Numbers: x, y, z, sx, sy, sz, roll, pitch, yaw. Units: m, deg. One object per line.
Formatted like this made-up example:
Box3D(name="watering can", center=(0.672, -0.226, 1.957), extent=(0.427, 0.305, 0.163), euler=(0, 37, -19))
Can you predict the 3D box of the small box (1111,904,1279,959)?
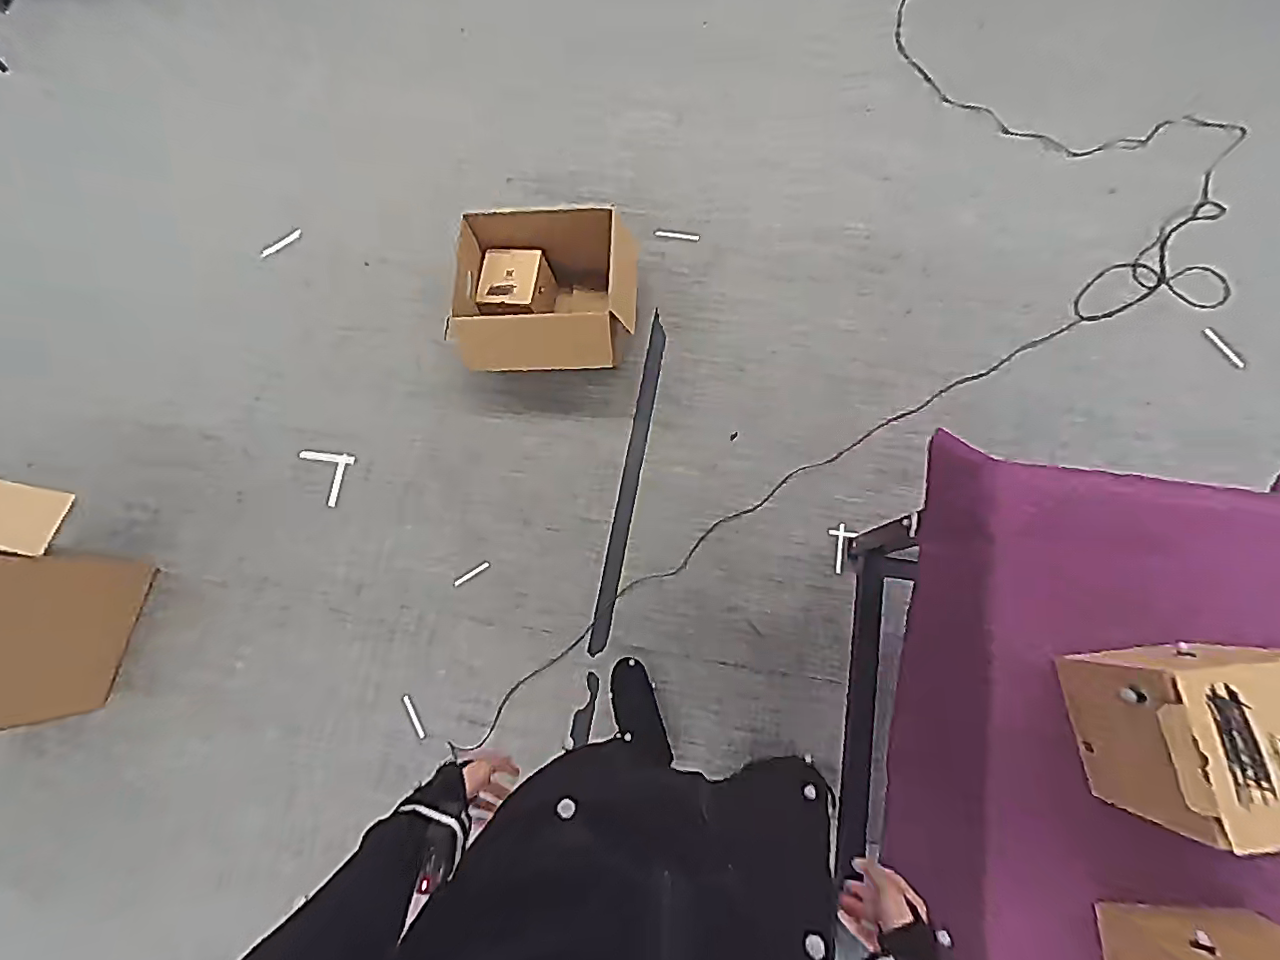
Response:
Box3D(name="small box", center=(0.625, 0.565, 0.544), extent=(0.179, 0.176, 0.168), euler=(1, 77, 3))
